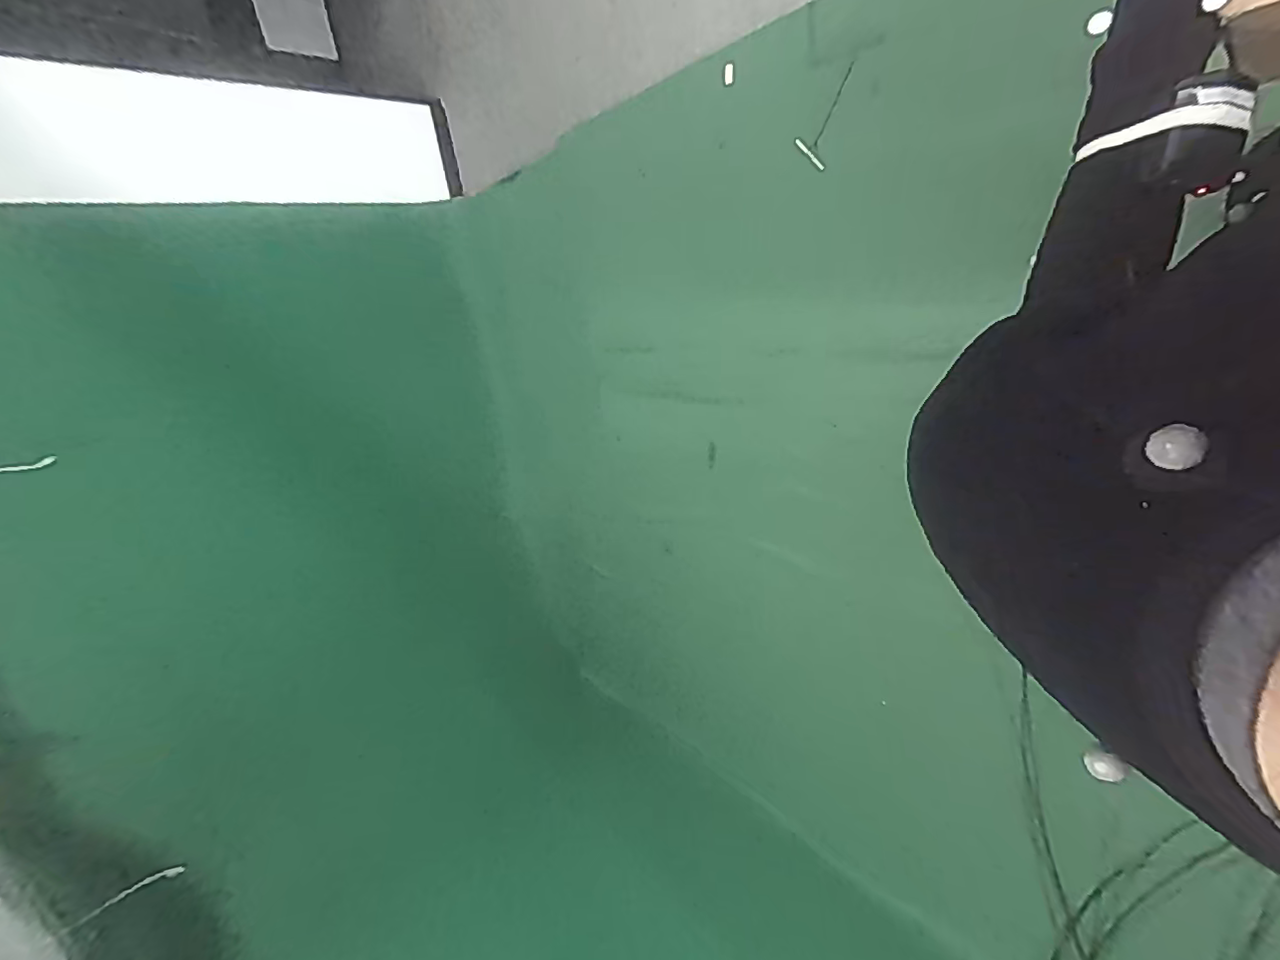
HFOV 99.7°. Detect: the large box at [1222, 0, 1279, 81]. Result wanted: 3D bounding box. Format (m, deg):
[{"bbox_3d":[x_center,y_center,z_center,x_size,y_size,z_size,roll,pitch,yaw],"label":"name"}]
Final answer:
[{"bbox_3d":[0.600,-0.460,0.253,0.408,0.320,0.320,11,116,47],"label":"large box"}]
